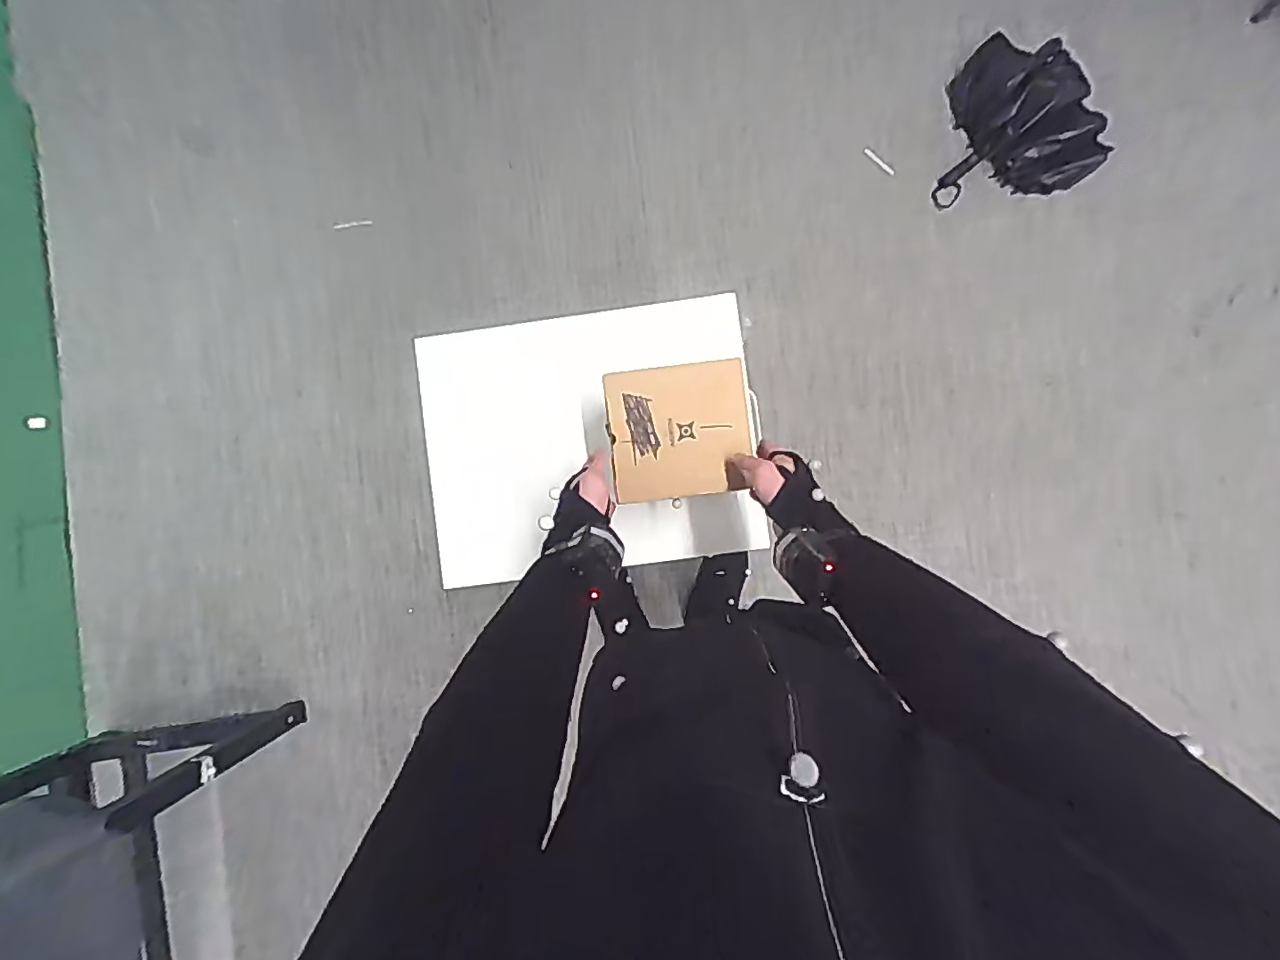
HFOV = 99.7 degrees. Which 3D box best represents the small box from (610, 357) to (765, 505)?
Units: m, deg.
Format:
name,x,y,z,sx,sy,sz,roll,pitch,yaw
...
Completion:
name,x,y,z,sx,sy,sz,roll,pitch,yaw
small box,0.058,-0.056,0.730,0.179,0.176,0.168,-6,87,-1
